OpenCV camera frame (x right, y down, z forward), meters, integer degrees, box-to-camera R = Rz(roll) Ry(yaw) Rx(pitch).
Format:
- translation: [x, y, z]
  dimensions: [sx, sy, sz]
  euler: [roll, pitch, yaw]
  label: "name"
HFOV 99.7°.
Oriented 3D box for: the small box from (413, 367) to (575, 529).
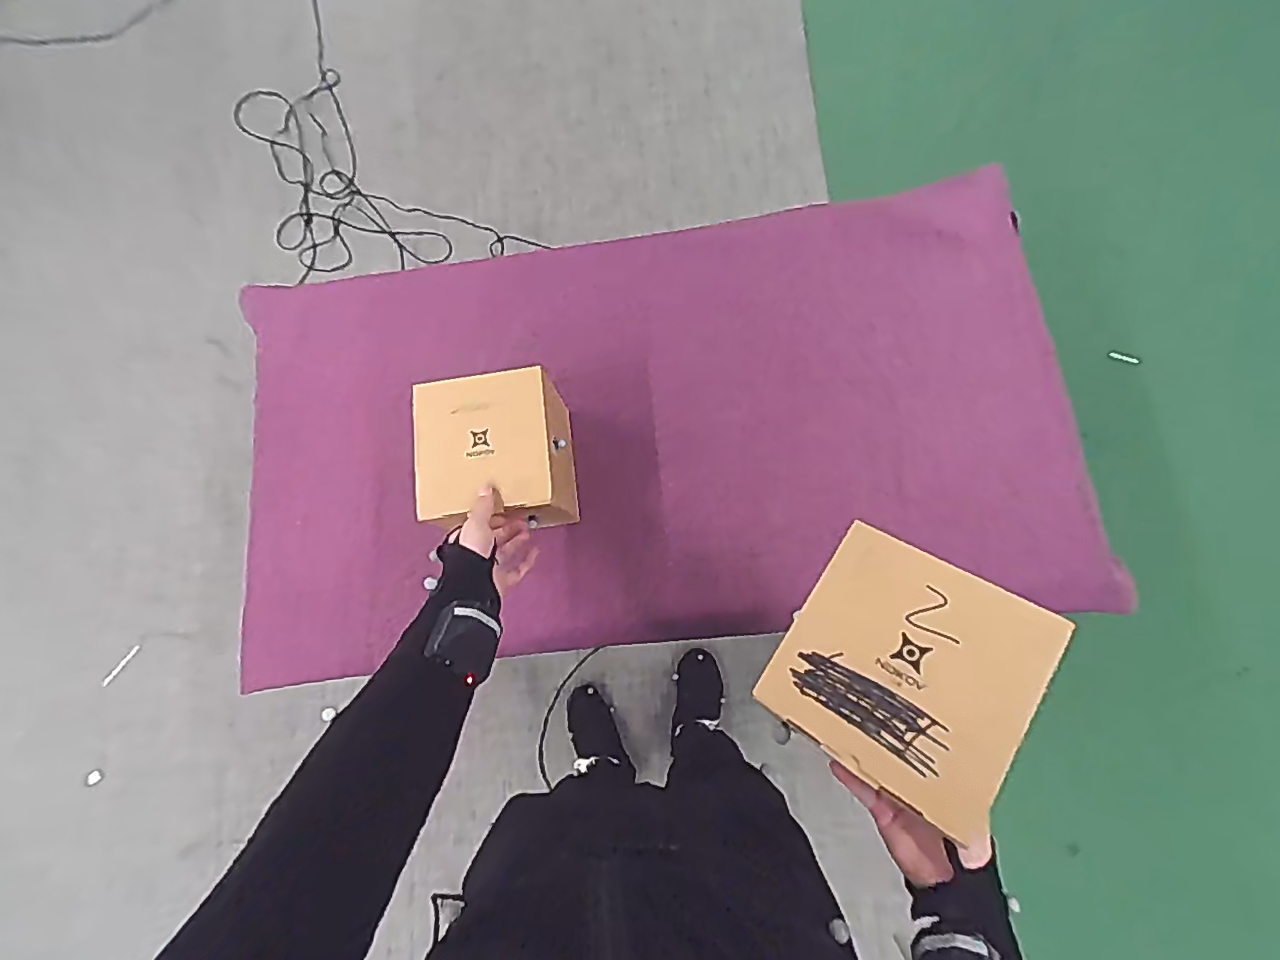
- translation: [-0.188, -0.031, 0.734]
  dimensions: [0.168, 0.176, 0.179]
  euler: [-7, 77, 3]
  label: "small box"
